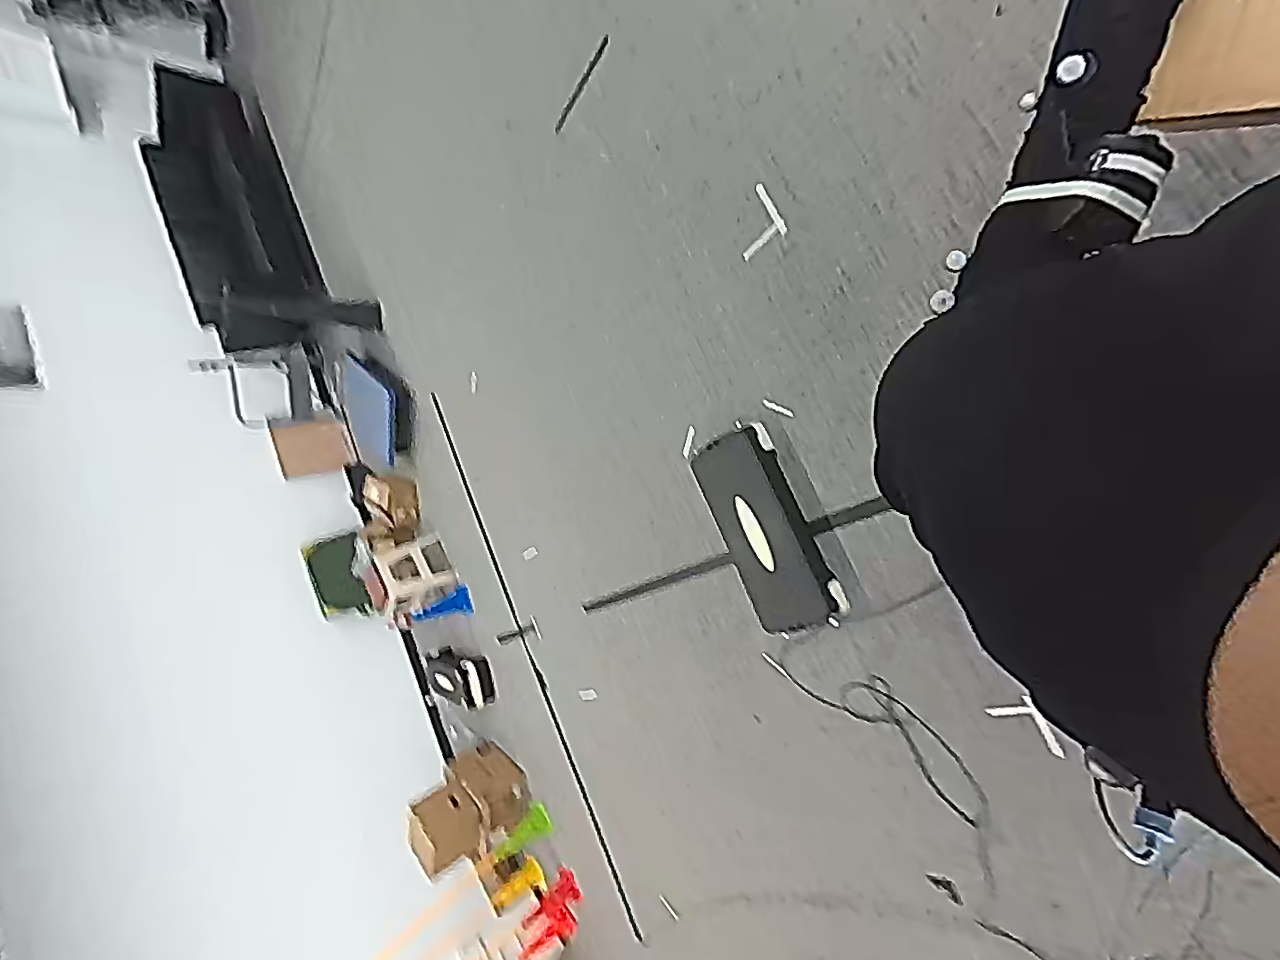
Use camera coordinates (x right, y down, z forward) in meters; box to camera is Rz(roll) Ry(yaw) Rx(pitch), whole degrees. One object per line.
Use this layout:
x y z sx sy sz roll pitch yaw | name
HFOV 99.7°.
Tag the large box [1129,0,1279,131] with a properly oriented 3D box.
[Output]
0.593 -0.412 0.303 0.408 0.320 0.320 20 127 40 | large box
